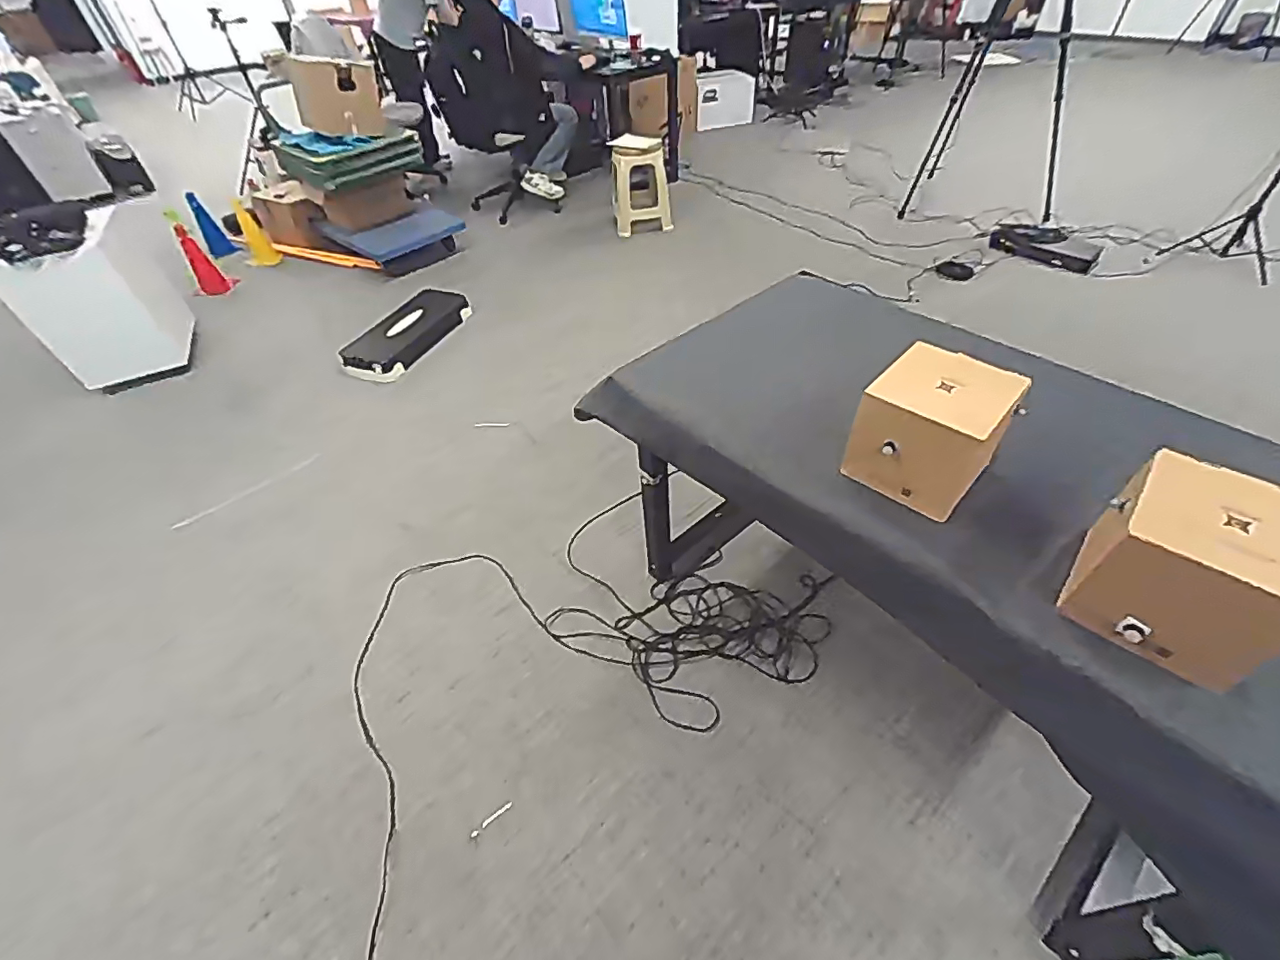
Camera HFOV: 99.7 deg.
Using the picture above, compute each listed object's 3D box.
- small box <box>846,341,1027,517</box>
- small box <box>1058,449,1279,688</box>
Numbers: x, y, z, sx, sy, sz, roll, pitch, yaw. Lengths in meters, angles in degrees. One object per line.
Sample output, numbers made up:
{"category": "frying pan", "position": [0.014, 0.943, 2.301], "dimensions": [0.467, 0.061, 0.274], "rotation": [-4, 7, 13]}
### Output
{"category": "small box", "position": [0.433, -0.076, 0.816], "dimensions": [0.168, 0.176, 0.179], "rotation": [33, 55, 30]}
{"category": "small box", "position": [0.634, 0.101, 0.631], "dimensions": [0.168, 0.176, 0.179], "rotation": [31, 56, 31]}
